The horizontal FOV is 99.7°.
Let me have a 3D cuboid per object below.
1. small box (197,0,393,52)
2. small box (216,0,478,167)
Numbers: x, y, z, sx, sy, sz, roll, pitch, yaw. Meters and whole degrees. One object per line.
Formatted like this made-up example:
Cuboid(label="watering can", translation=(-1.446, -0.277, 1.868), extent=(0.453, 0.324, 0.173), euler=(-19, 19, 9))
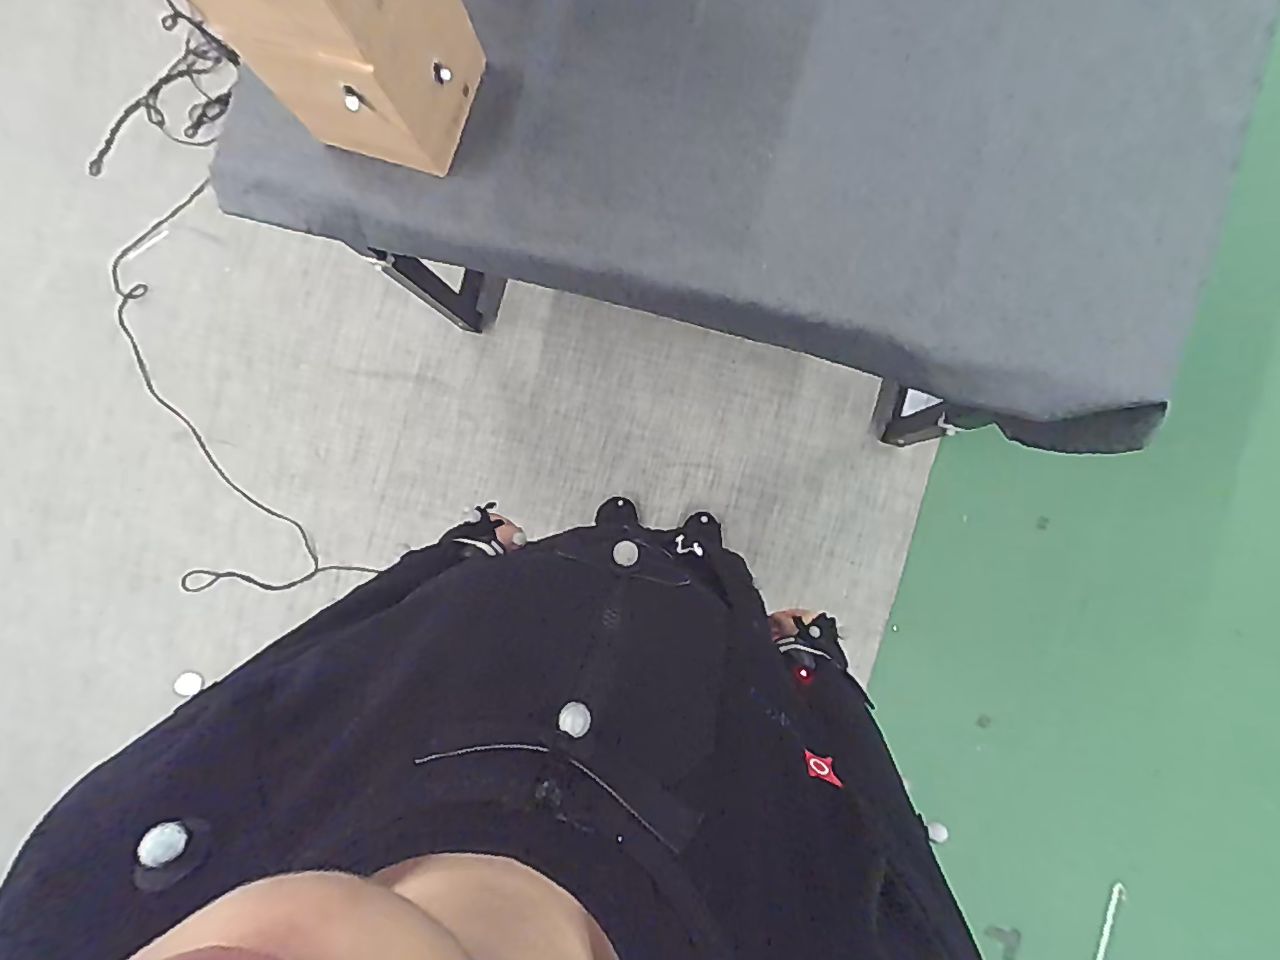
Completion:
Cuboid(label="small box", translation=(-0.321, -0.504, 0.445), extent=(0.179, 0.176, 0.168), euler=(14, 88, 5))
Cuboid(label="small box", translation=(-0.307, -0.491, 0.607), extent=(0.179, 0.176, 0.168), euler=(18, 88, 5))
